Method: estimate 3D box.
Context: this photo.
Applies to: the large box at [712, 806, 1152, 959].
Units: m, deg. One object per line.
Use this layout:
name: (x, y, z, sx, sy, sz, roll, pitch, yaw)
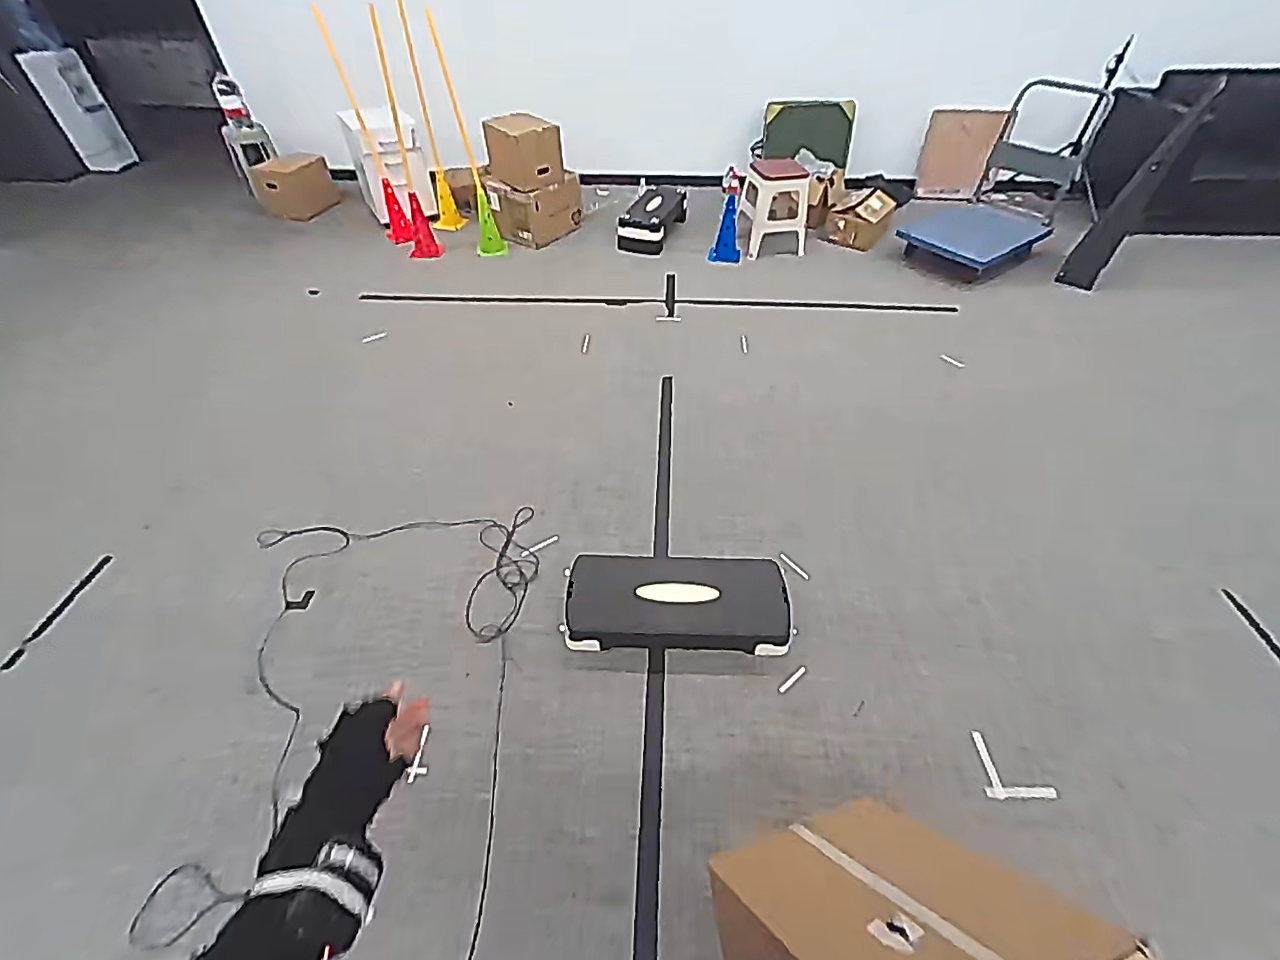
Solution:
large box: (0.328, 0.670, 0.656, 0.320, 0.408, 0.320, -5, 81, -19)
